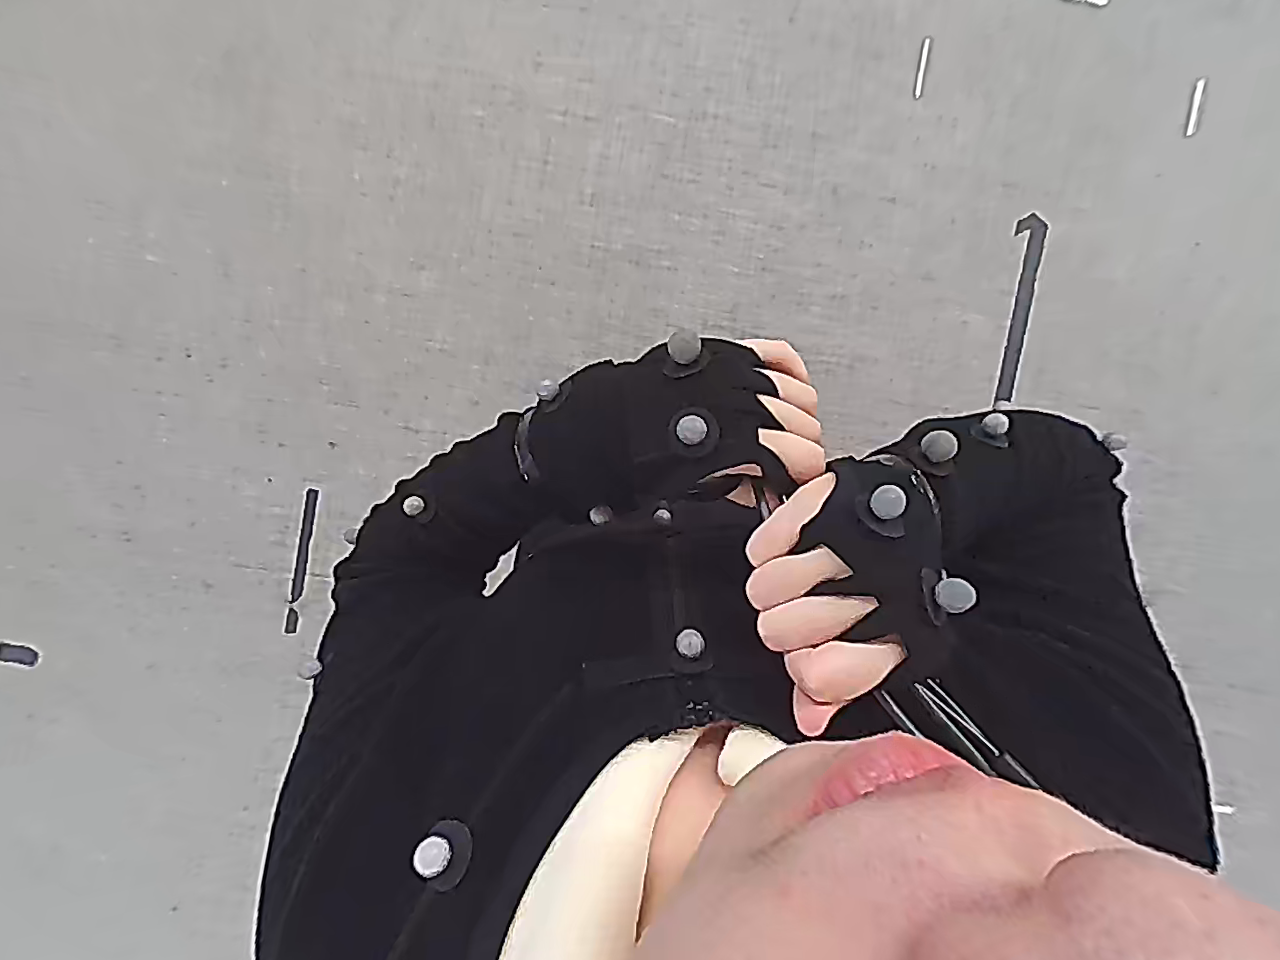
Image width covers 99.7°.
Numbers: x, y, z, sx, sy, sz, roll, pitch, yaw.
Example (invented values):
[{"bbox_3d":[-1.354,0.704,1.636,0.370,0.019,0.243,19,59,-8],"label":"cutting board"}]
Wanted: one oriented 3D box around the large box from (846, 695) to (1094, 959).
[{"bbox_3d":[0.736,0.783,1.262,0.320,0.320,0.408,15,93,-4],"label":"large box"}]
